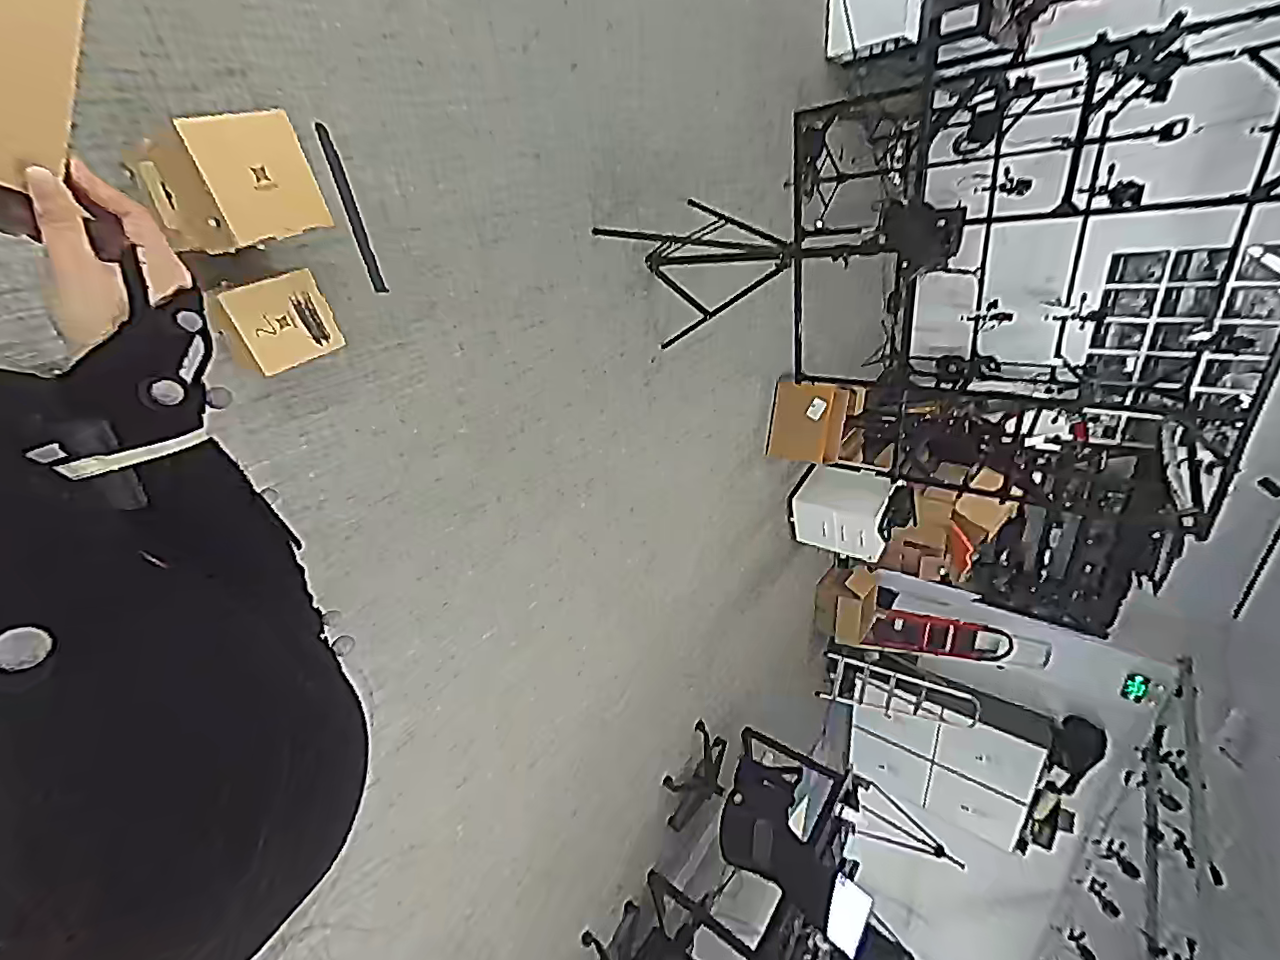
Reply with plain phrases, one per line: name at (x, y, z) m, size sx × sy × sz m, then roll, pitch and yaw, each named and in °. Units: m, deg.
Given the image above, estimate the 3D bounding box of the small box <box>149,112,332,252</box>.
small box at (-0.676, -0.501, 0.919) m, size 0.168 × 0.176 × 0.179 m, roll -41°, pitch 132°, yaw -38°

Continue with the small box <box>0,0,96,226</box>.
small box at (-0.435, -0.254, 0.286) m, size 0.179 × 0.176 × 0.168 m, roll 7°, pitch 93°, yaw -55°

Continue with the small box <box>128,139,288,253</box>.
small box at (-0.809, -0.525, 1.011) m, size 0.179 × 0.176 × 0.168 m, roll -34°, pitch 127°, yaw -43°
